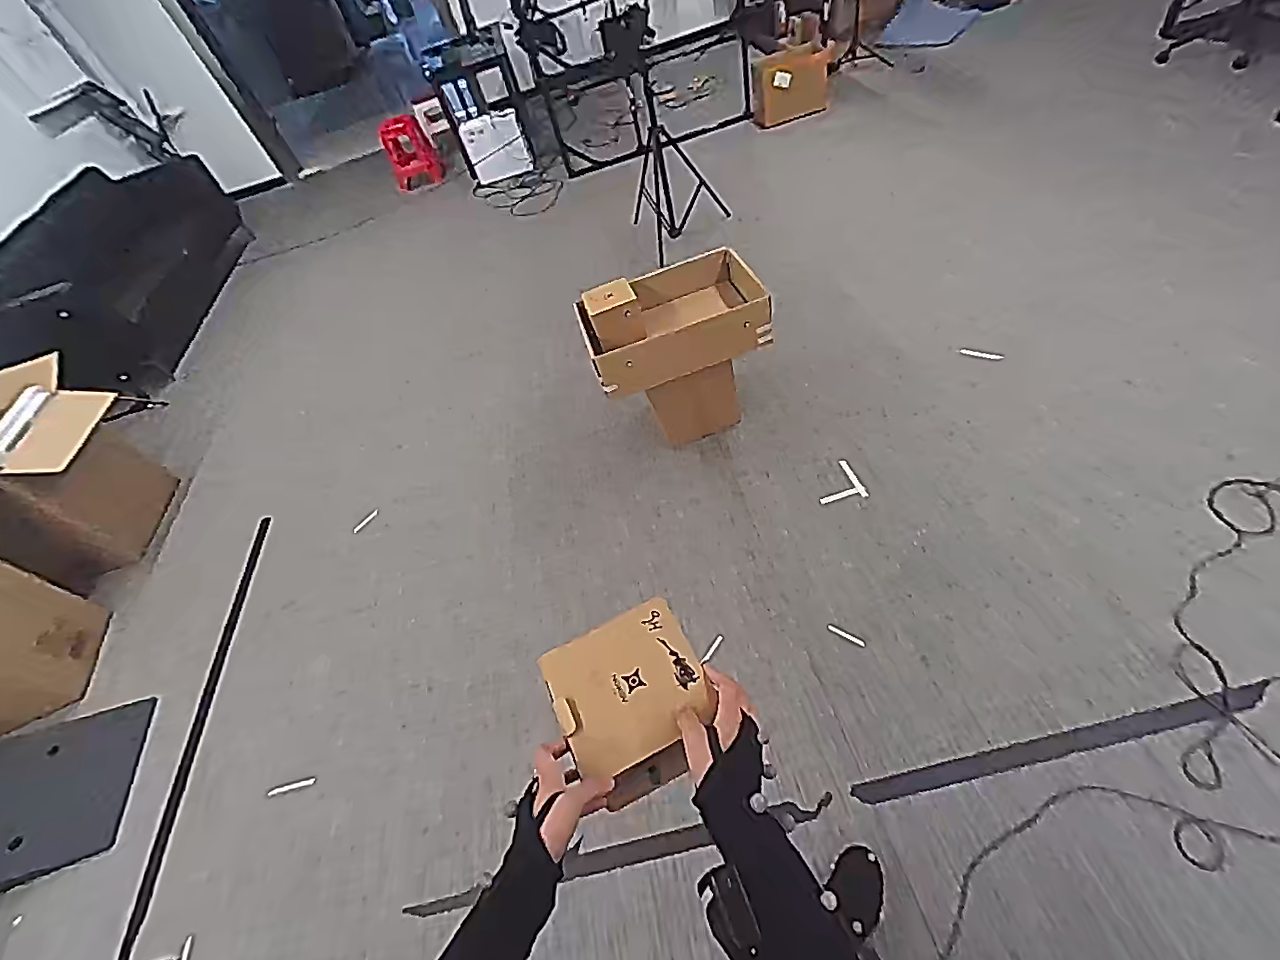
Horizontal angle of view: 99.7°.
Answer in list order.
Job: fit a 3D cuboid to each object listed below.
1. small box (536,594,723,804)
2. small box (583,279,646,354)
[{"bbox_3d":[-0.006,0.284,0.691,0.179,0.176,0.168,-25,52,-9],"label":"small box"},{"bbox_3d":[-0.088,-0.591,1.962,0.179,0.176,0.168,-21,48,0],"label":"small box"}]
